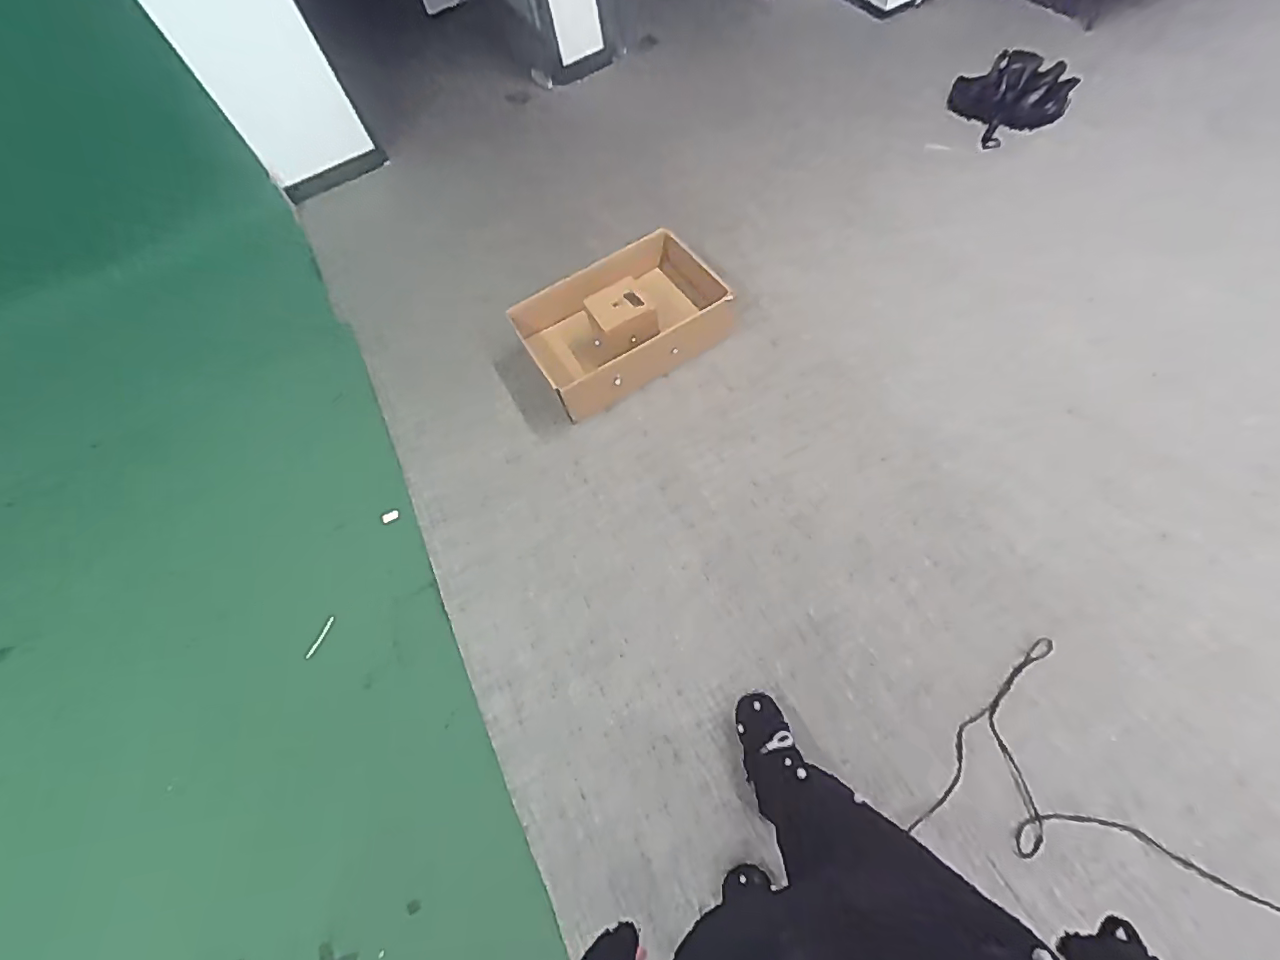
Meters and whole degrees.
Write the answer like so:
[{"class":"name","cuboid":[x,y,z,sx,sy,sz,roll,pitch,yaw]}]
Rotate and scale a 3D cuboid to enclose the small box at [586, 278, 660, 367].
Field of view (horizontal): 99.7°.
[{"class":"small box","cuboid":[-0.047,-0.492,1.702,0.179,0.176,0.168,-30,62,-8]}]
